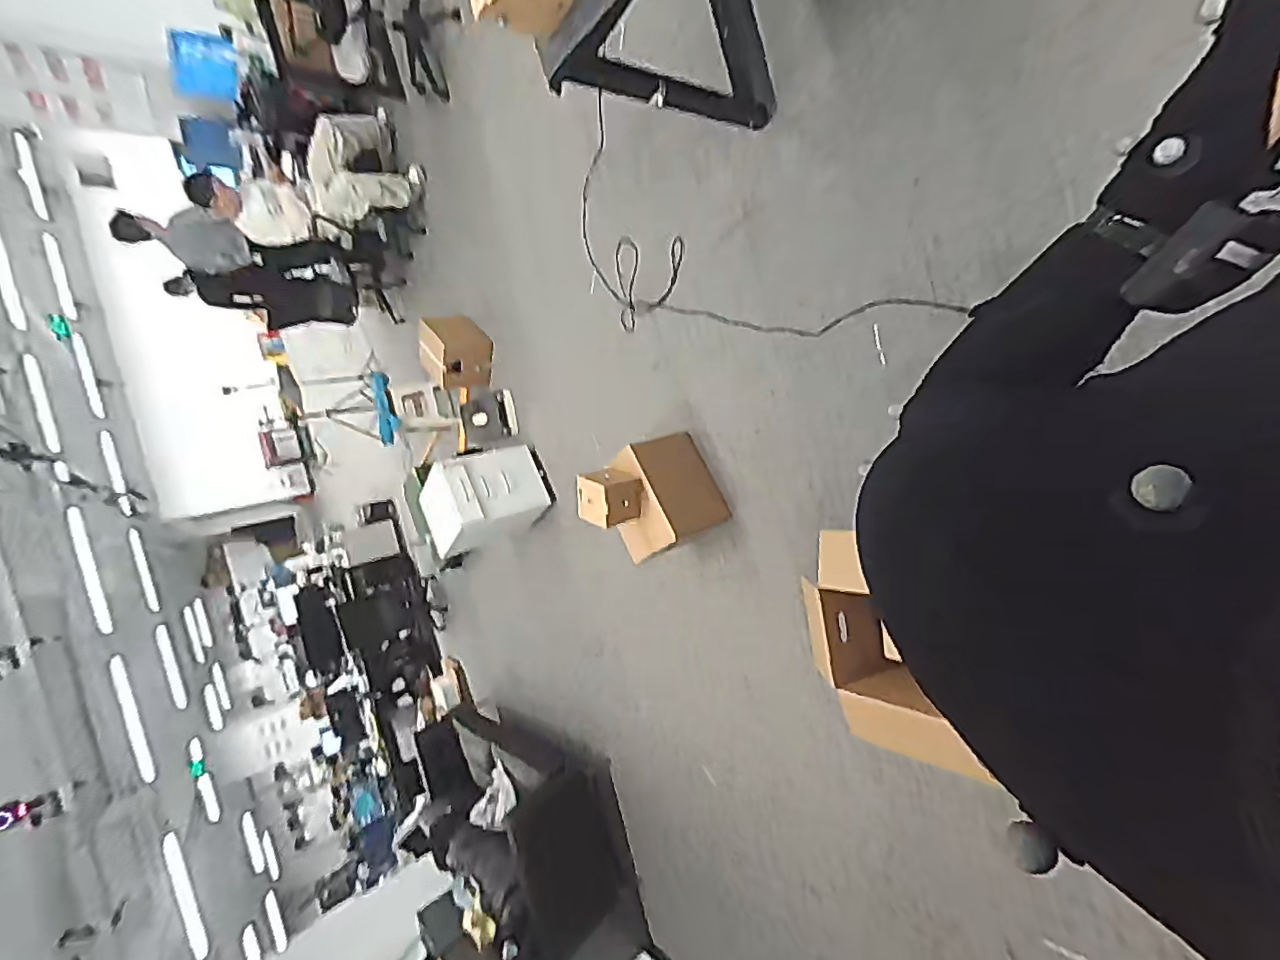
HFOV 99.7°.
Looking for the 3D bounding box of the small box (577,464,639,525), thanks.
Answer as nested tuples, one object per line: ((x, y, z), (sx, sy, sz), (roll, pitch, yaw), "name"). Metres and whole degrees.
((-0.115, 0.048, 2.040), (0.179, 0.176, 0.168), (19, 117, 45), "small box")

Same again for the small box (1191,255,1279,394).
((1.089, -0.251, 0.873), (0.176, 0.168, 0.179), (38, 112, 0), "small box")
